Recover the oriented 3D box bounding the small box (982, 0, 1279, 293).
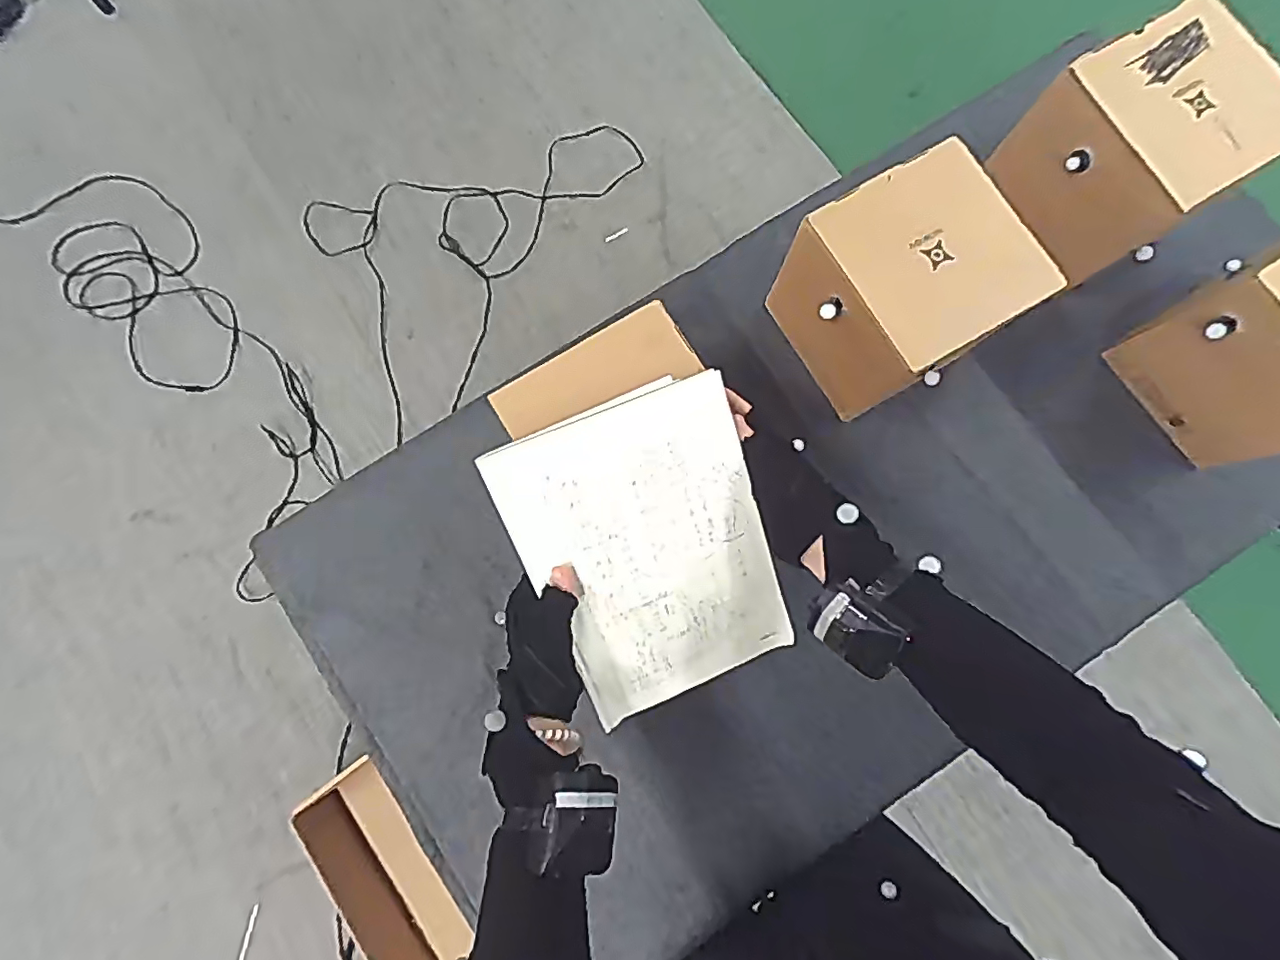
[{"bbox_3d":[0.510,-0.340,0.580,0.168,0.176,0.179,-30,82,-3],"label":"small box"}]

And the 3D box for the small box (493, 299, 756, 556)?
[{"bbox_3d":[-0.014,-0.038,0.538,0.179,0.176,0.168,-30,80,-5],"label":"small box"}]

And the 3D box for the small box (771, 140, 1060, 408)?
[{"bbox_3d":[0.262,-0.191,0.563,0.168,0.176,0.179,-30,81,-4],"label":"small box"}]
